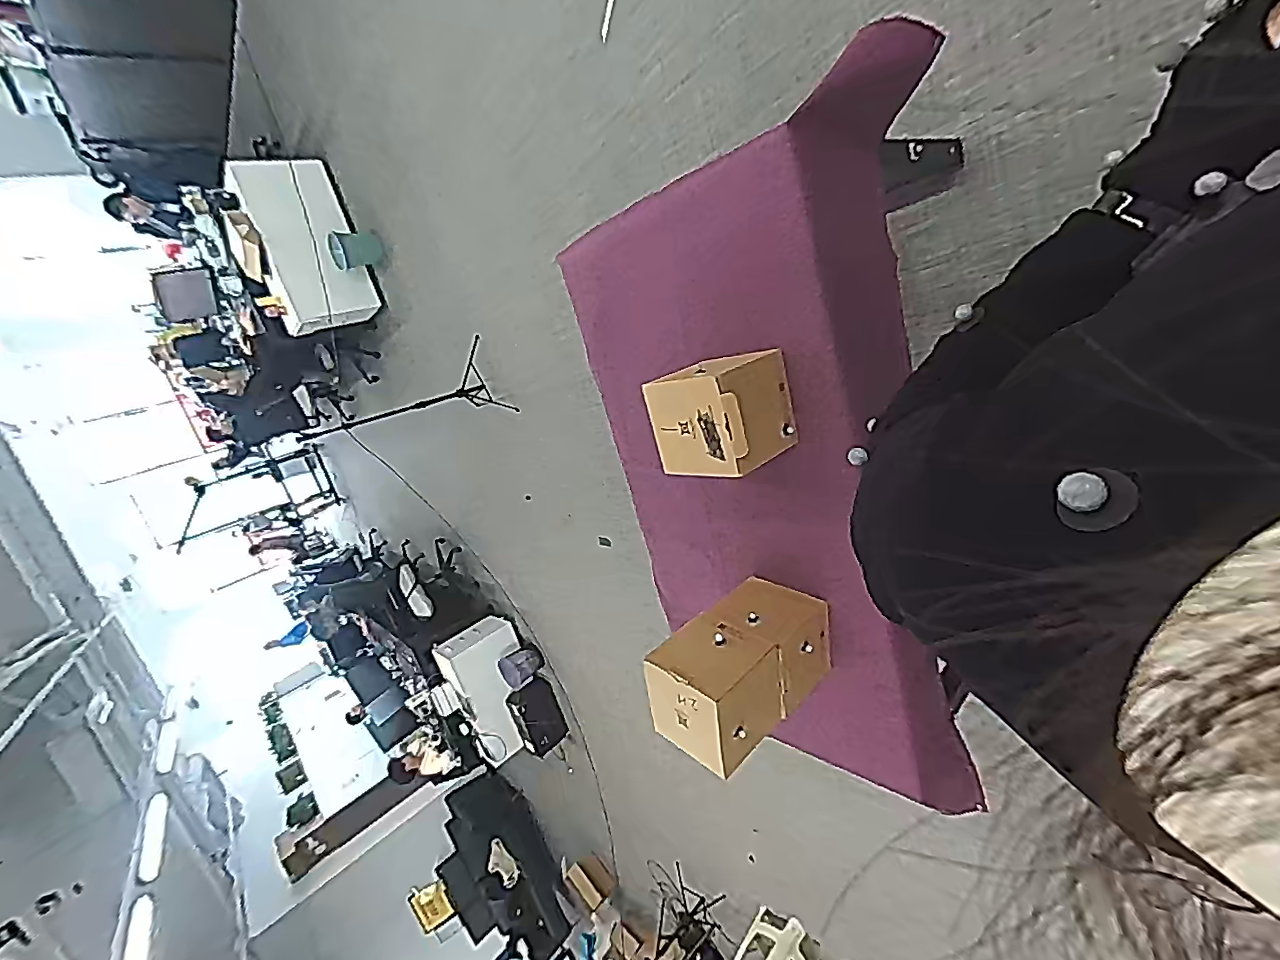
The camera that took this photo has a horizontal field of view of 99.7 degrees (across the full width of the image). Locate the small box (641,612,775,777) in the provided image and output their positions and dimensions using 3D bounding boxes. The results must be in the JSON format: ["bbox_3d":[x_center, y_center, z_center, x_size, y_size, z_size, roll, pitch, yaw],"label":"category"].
[{"bbox_3d":[0.126,0.370,0.963,0.168,0.176,0.179,15,122,44],"label":"small box"}]

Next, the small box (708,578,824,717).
[{"bbox_3d":[0.246,0.316,1.061,0.179,0.176,0.168,14,122,45],"label":"small box"}]

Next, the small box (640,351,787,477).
[{"bbox_3d":[0.133,-0.114,0.924,0.179,0.176,0.168,4,115,50],"label":"small box"}]
